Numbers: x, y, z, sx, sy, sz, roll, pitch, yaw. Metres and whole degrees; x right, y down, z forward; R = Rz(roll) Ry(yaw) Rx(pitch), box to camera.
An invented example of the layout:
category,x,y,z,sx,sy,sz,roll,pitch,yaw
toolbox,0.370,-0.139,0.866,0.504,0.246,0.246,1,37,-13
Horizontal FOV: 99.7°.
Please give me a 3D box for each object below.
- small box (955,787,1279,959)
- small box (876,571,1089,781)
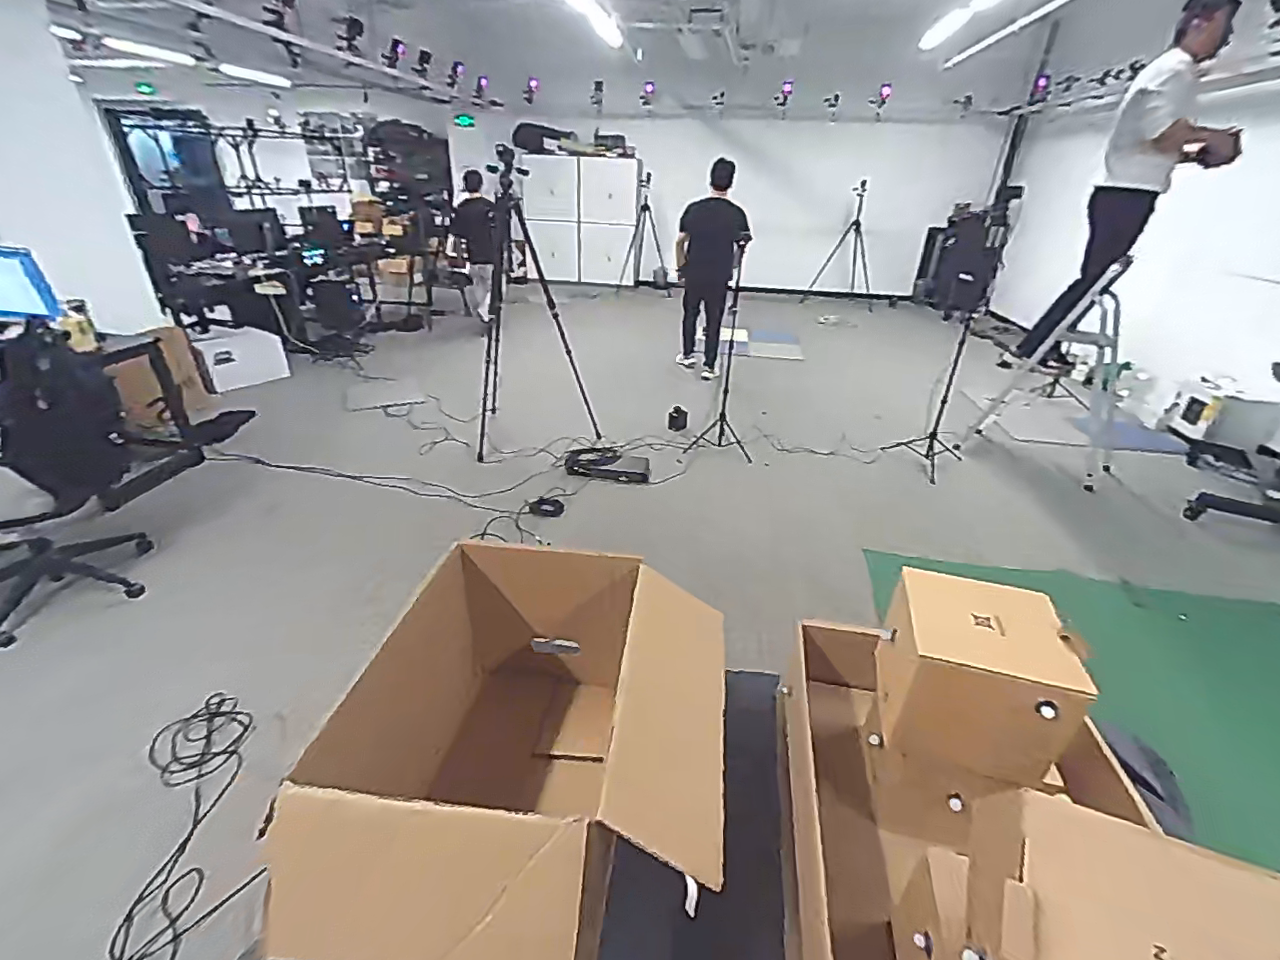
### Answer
category,x,y,z,sx,sy,sz,roll,pitch,yaw
small box,0.343,0.346,0.388,0.179,0.176,0.168,11,64,24
small box,0.412,0.247,0.692,0.179,0.176,0.168,11,32,14
